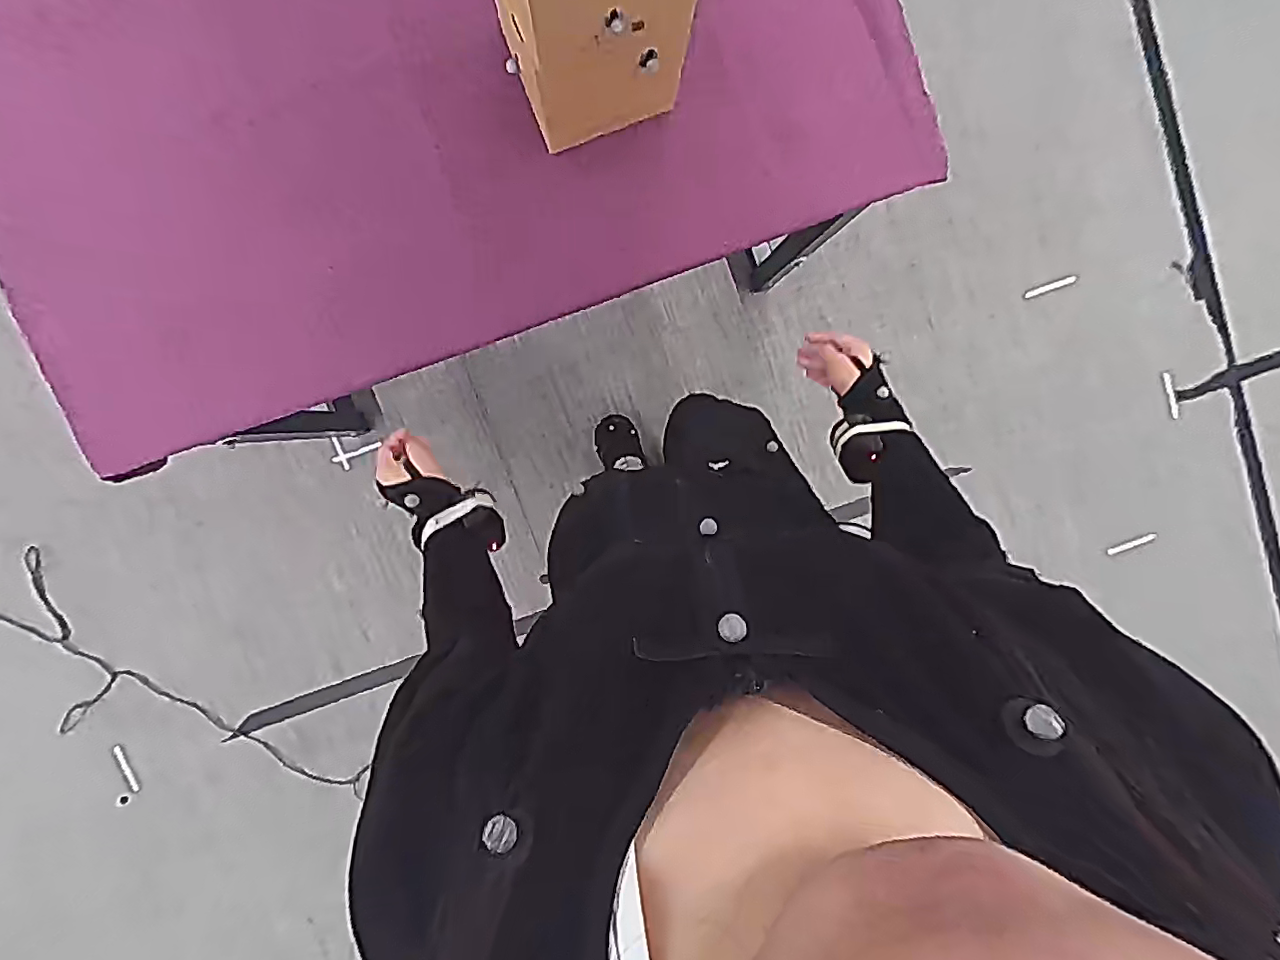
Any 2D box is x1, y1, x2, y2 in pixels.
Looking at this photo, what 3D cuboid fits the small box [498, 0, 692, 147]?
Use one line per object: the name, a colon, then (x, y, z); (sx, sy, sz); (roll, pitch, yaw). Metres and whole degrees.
small box: (-0.060, -0.525, 0.616); (0.179, 0.176, 0.168); (-21, 96, -1)
